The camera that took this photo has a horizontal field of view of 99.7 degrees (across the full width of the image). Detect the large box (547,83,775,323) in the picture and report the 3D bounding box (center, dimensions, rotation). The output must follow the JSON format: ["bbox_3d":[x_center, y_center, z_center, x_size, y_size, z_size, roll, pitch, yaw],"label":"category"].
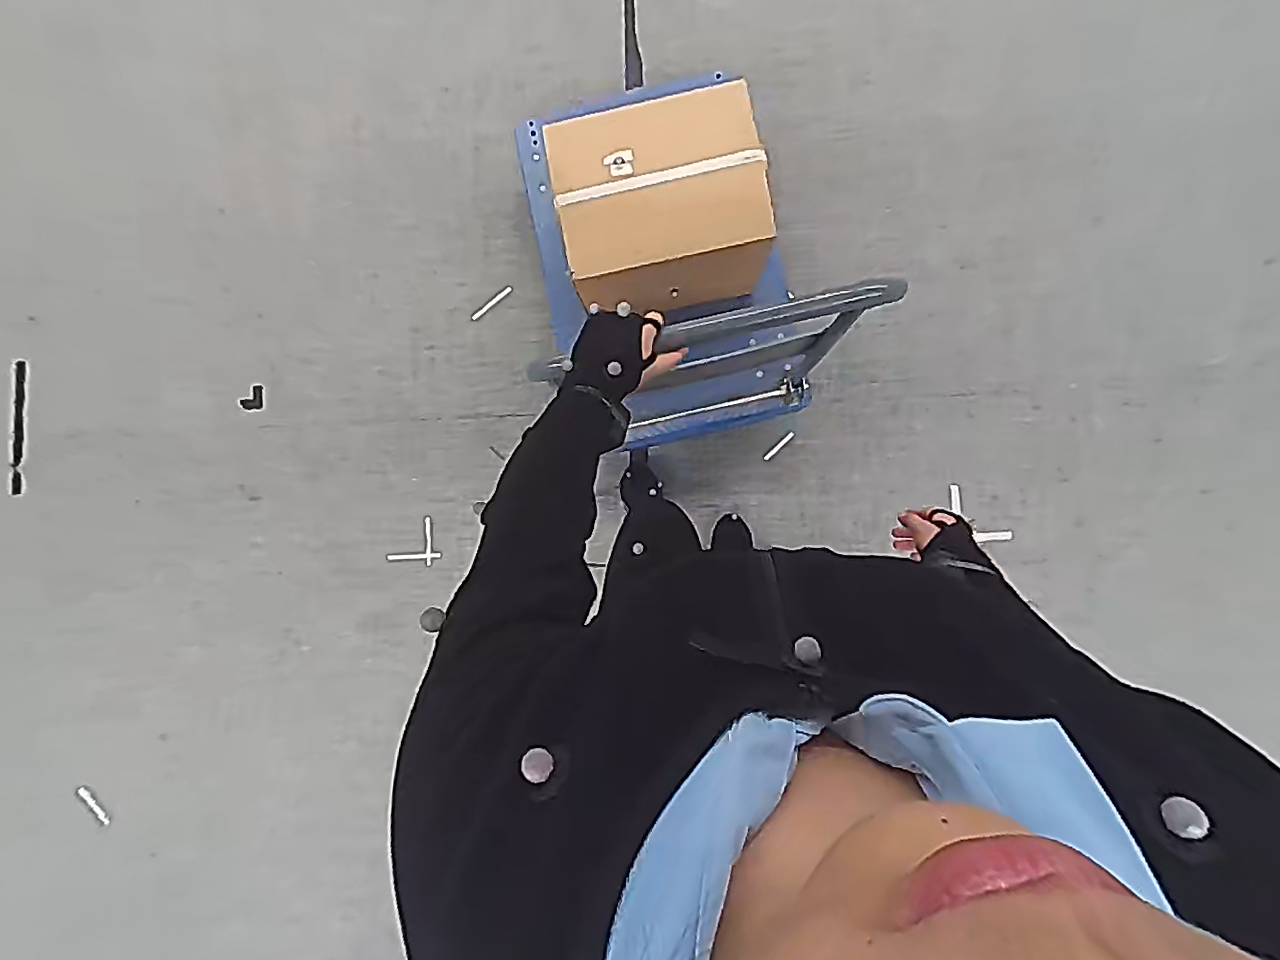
[{"bbox_3d":[0.050,-0.579,1.202,0.408,0.320,0.320,-11,88,4],"label":"large box"}]
